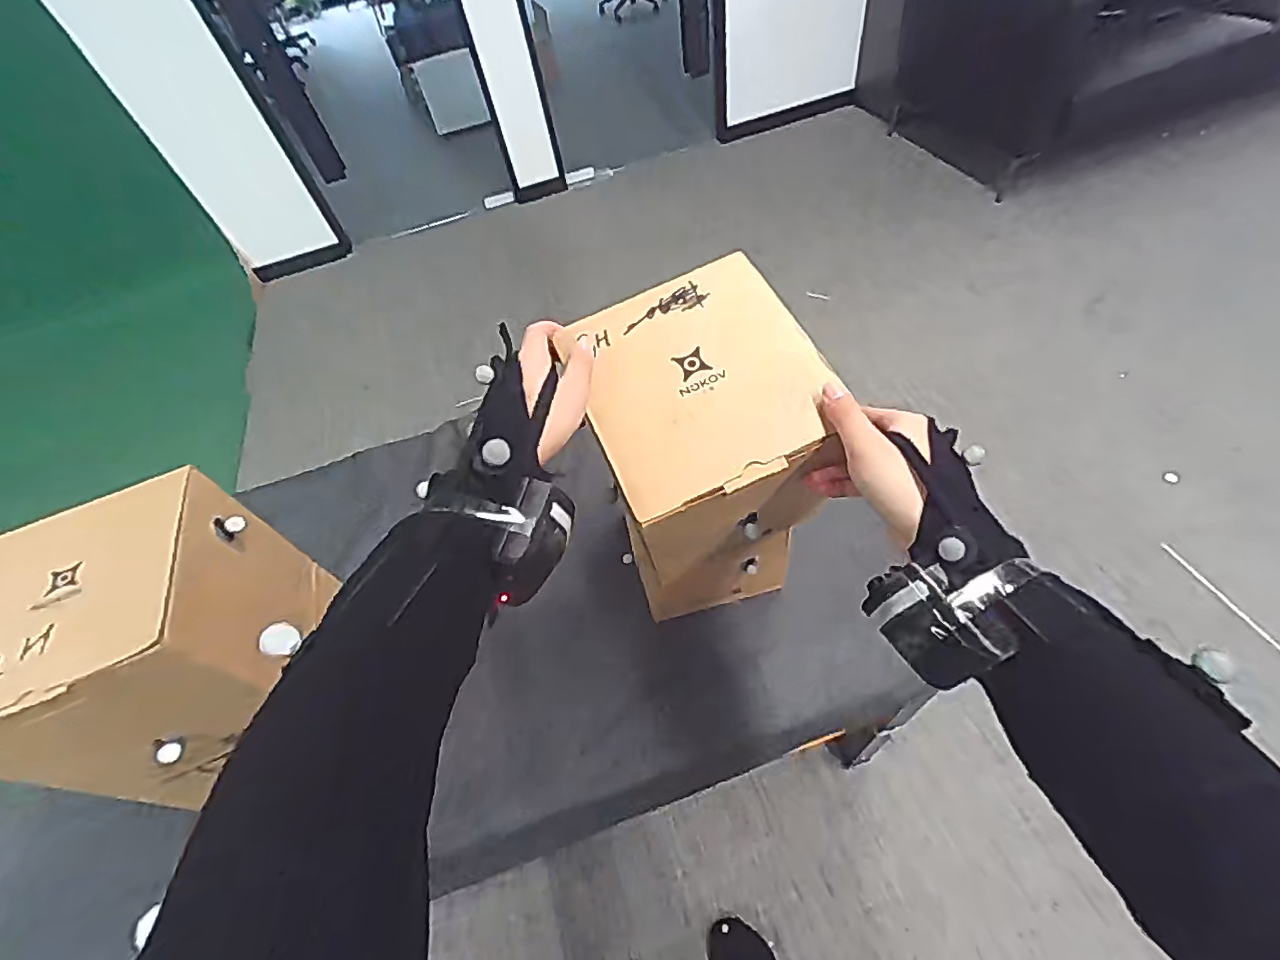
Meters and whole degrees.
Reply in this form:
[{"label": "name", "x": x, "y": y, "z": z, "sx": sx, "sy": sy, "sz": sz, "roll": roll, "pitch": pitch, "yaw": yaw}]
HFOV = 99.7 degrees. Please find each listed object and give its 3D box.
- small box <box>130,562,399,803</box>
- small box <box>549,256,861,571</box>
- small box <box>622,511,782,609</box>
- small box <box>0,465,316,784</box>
[{"label": "small box", "x": -0.380, "y": 0.225, "z": 0.585, "sx": 0.168, "sy": 0.176, "sz": 0.179, "roll": -21, "pitch": 51, "yaw": -7}, {"label": "small box", "x": 0.048, "y": -0.038, "z": 0.450, "sx": 0.168, "sy": 0.176, "sz": 0.179, "roll": -25, "pitch": 67, "yaw": -3}, {"label": "small box", "x": 0.065, "y": 0.038, "z": 0.650, "sx": 0.168, "sy": 0.176, "sz": 0.179, "roll": -14, "pitch": 51, "yaw": -2}, {"label": "small box", "x": -0.403, "y": 0.124, "z": 0.458, "sx": 0.168, "sy": 0.176, "sz": 0.179, "roll": -23, "pitch": 53, "yaw": -7}]
